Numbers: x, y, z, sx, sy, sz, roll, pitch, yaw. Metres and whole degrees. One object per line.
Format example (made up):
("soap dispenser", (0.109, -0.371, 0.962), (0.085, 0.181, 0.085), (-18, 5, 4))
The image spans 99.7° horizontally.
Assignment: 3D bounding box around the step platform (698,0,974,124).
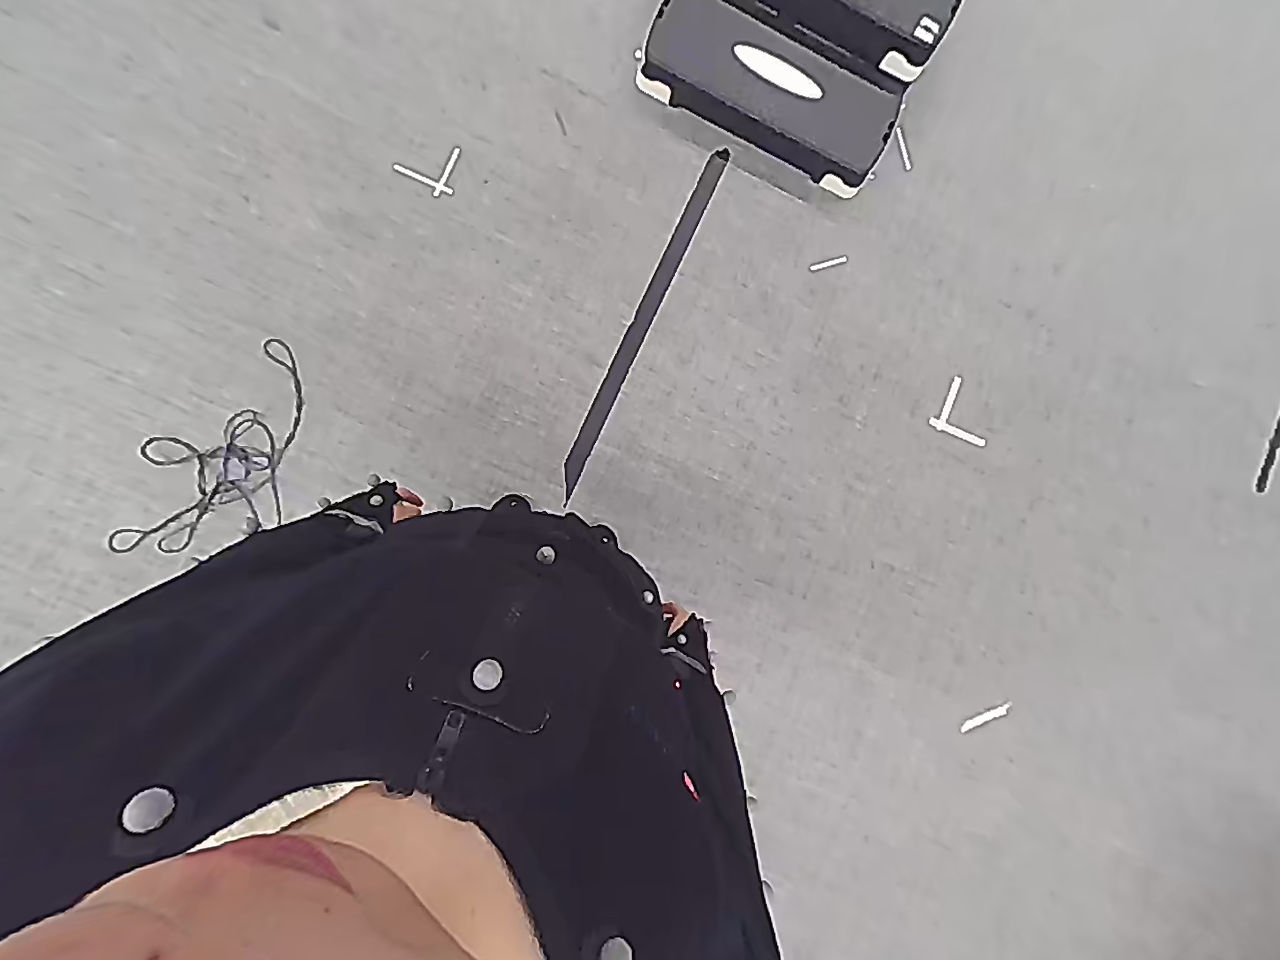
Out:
("step platform", (0.498, -1.259, 1.400), (0.684, 0.204, 0.286), (29, 86, -5))
